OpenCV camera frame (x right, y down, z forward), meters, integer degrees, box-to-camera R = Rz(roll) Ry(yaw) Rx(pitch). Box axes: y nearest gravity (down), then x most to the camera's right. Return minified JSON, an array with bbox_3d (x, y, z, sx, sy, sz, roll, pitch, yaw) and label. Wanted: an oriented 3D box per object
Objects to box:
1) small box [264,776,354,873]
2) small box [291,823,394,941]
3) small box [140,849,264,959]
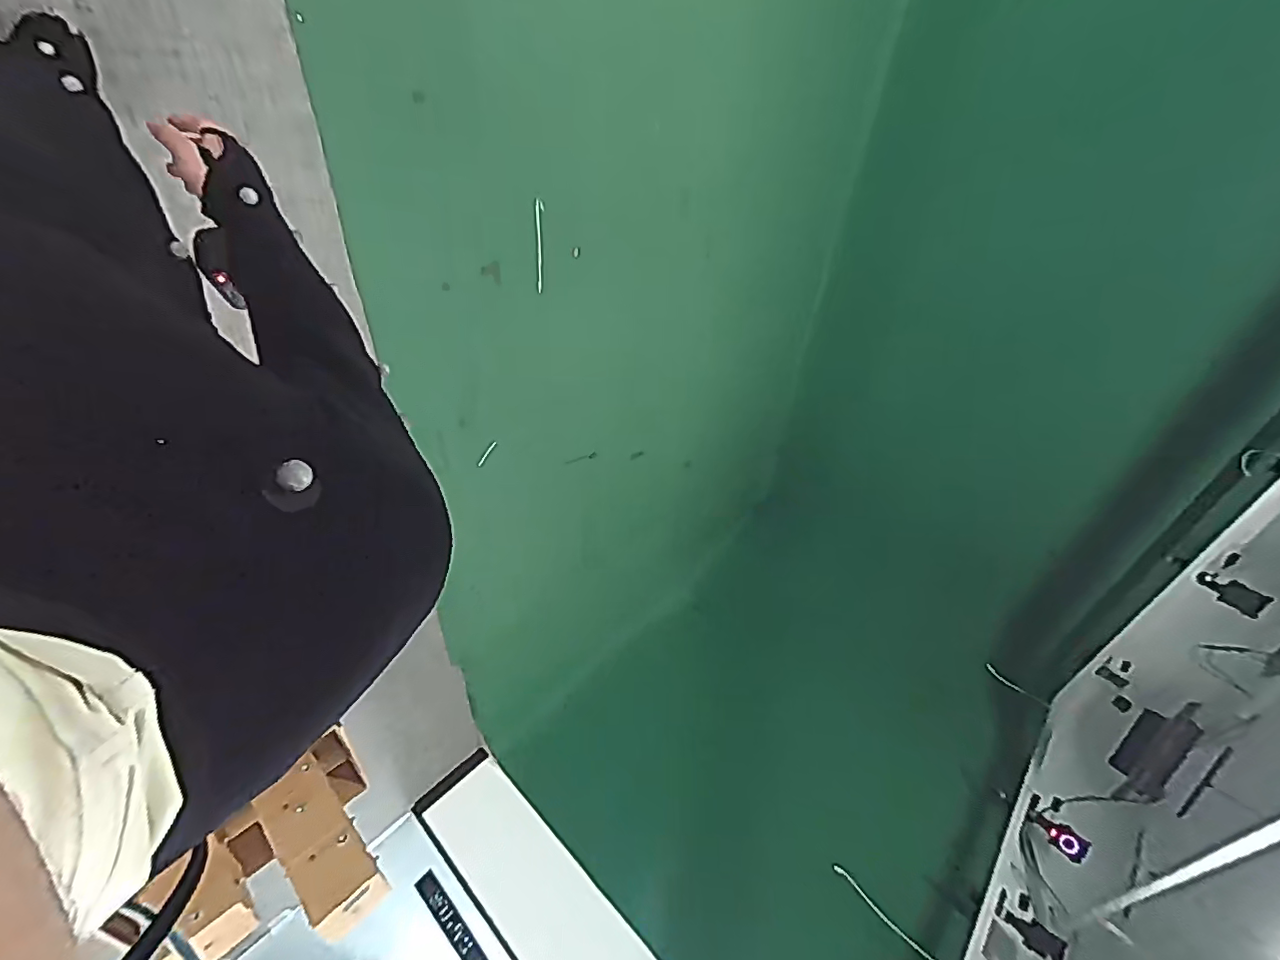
[{"bbox_3d":[-0.905,0.970,1.503,0.168,0.176,0.179,-31,141,-38],"label":"small box"},{"bbox_3d":[-0.784,1.052,1.427,0.168,0.176,0.179,-31,142,-37],"label":"small box"},{"bbox_3d":[-1.085,1.073,1.343,0.179,0.176,0.168,-29,138,-39],"label":"small box"}]
